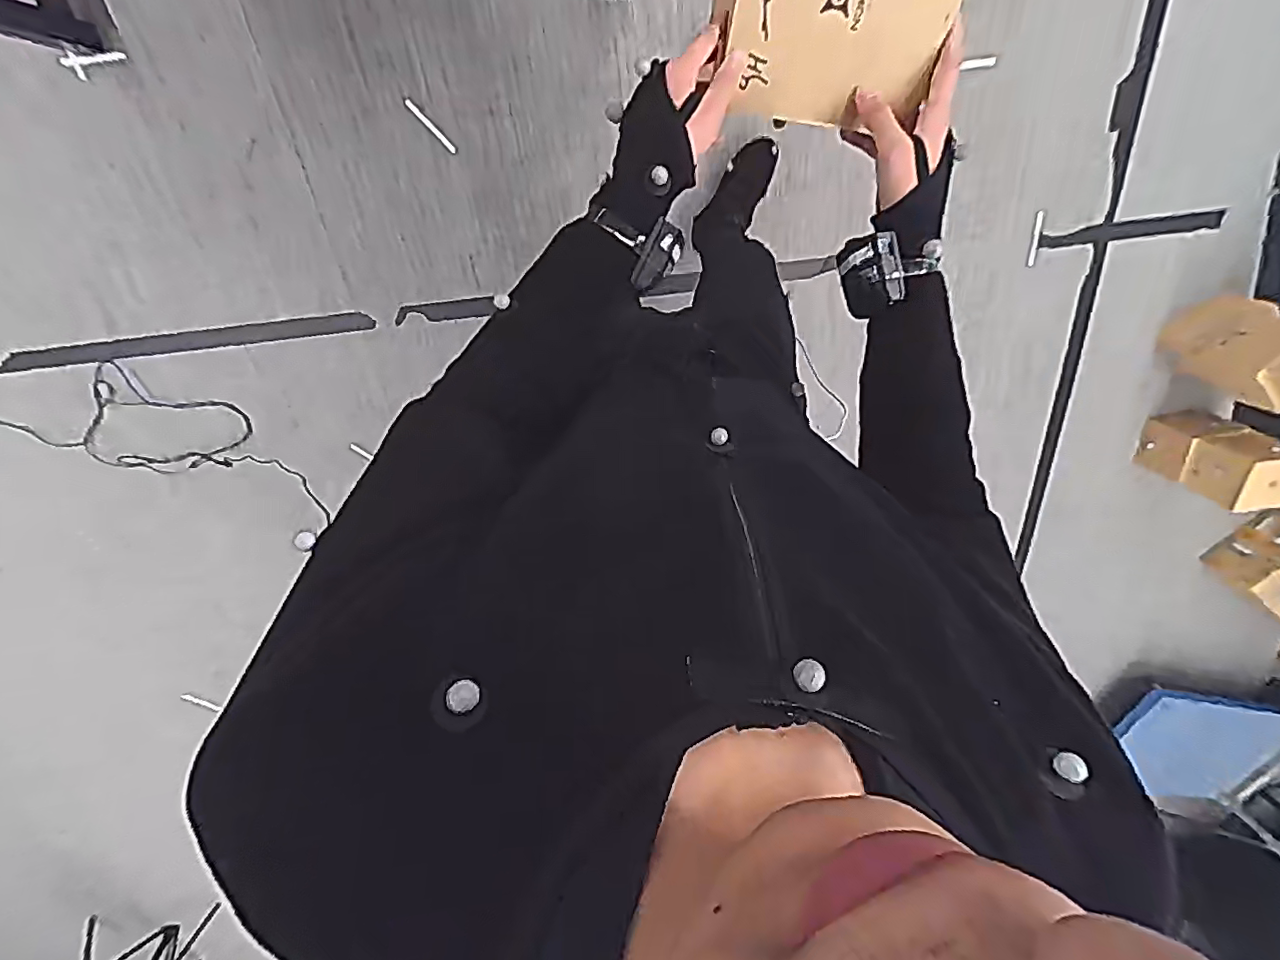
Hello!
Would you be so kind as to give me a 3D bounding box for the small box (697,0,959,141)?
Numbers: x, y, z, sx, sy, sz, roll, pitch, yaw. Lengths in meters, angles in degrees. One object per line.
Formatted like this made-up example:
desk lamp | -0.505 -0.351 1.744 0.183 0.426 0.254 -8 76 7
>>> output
small box | 0.157 -0.419 0.474 0.179 0.176 0.168 5 130 -6
